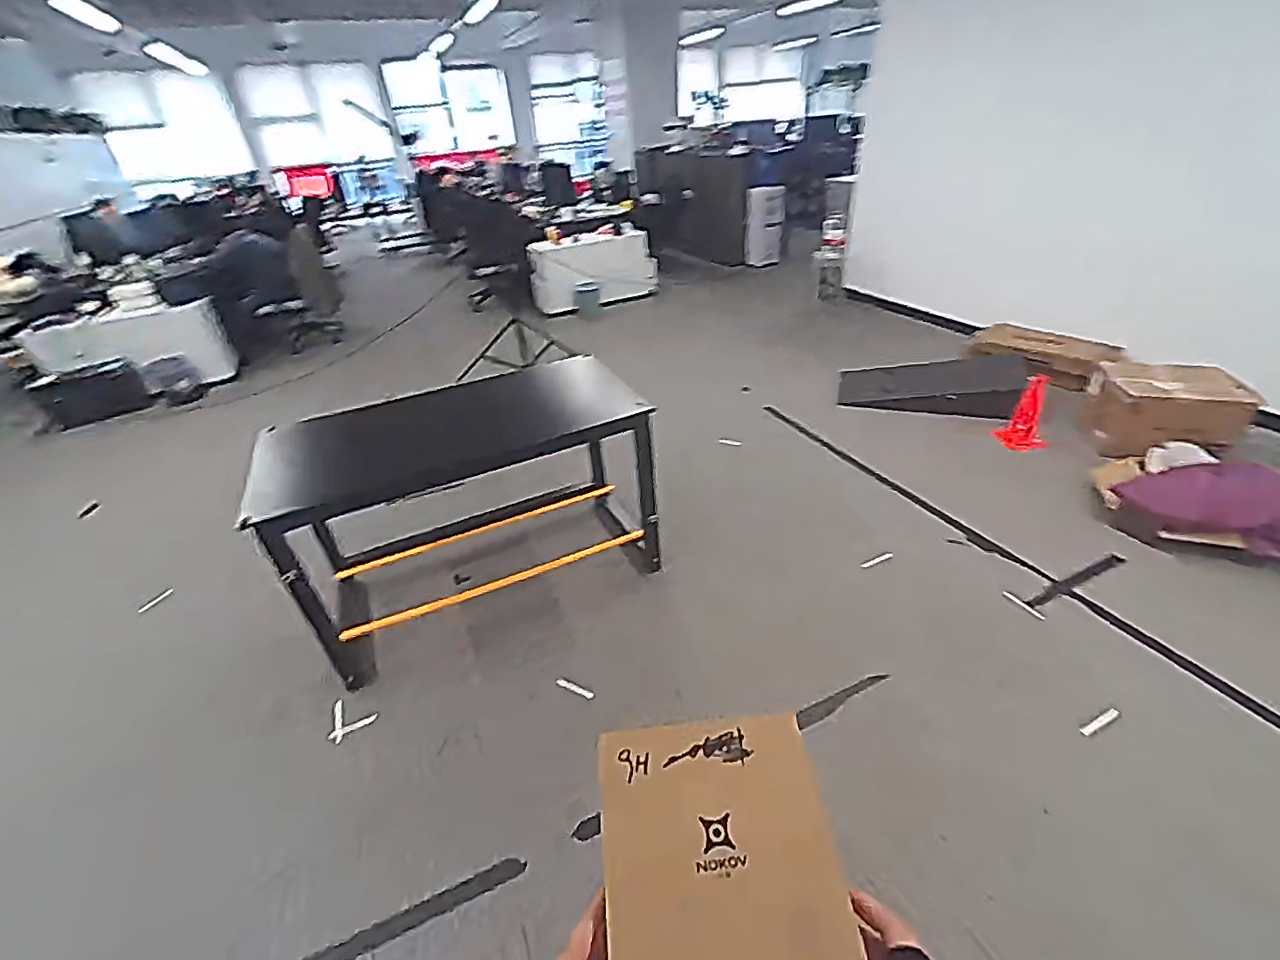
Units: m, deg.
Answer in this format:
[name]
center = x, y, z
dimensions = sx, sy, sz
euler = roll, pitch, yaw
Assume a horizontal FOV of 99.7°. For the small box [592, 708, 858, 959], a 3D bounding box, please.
[small box]
center = 0.055, 0.316, 0.450
dimensions = 0.168, 0.176, 0.179
euler = -7, 48, -3
